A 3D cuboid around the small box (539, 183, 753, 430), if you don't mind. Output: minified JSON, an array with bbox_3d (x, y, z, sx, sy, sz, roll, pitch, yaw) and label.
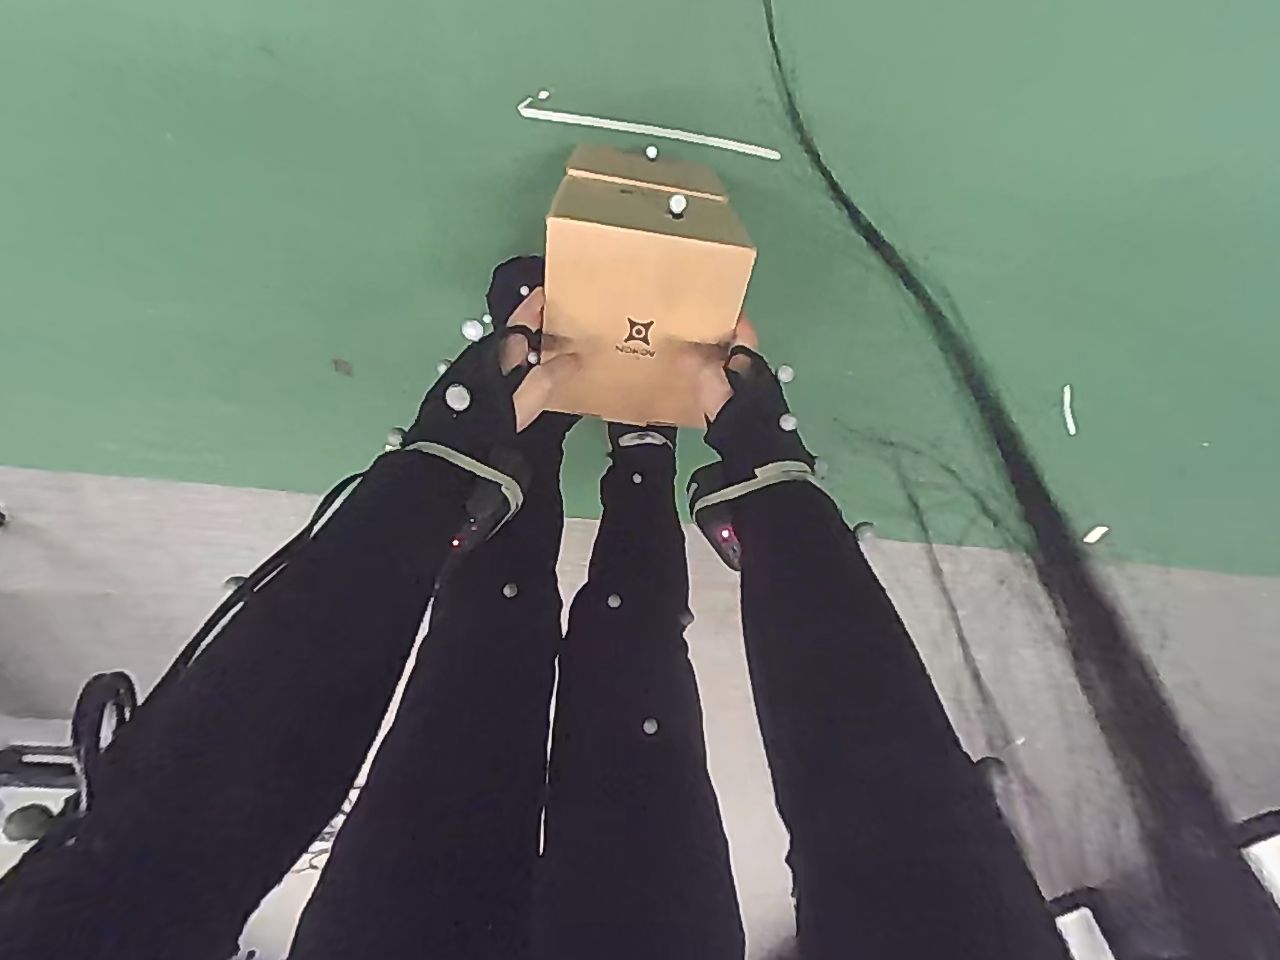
[{"bbox_3d":[-0.005,-0.173,0.531,0.168,0.176,0.179,6,129,-6],"label":"small box"}]
